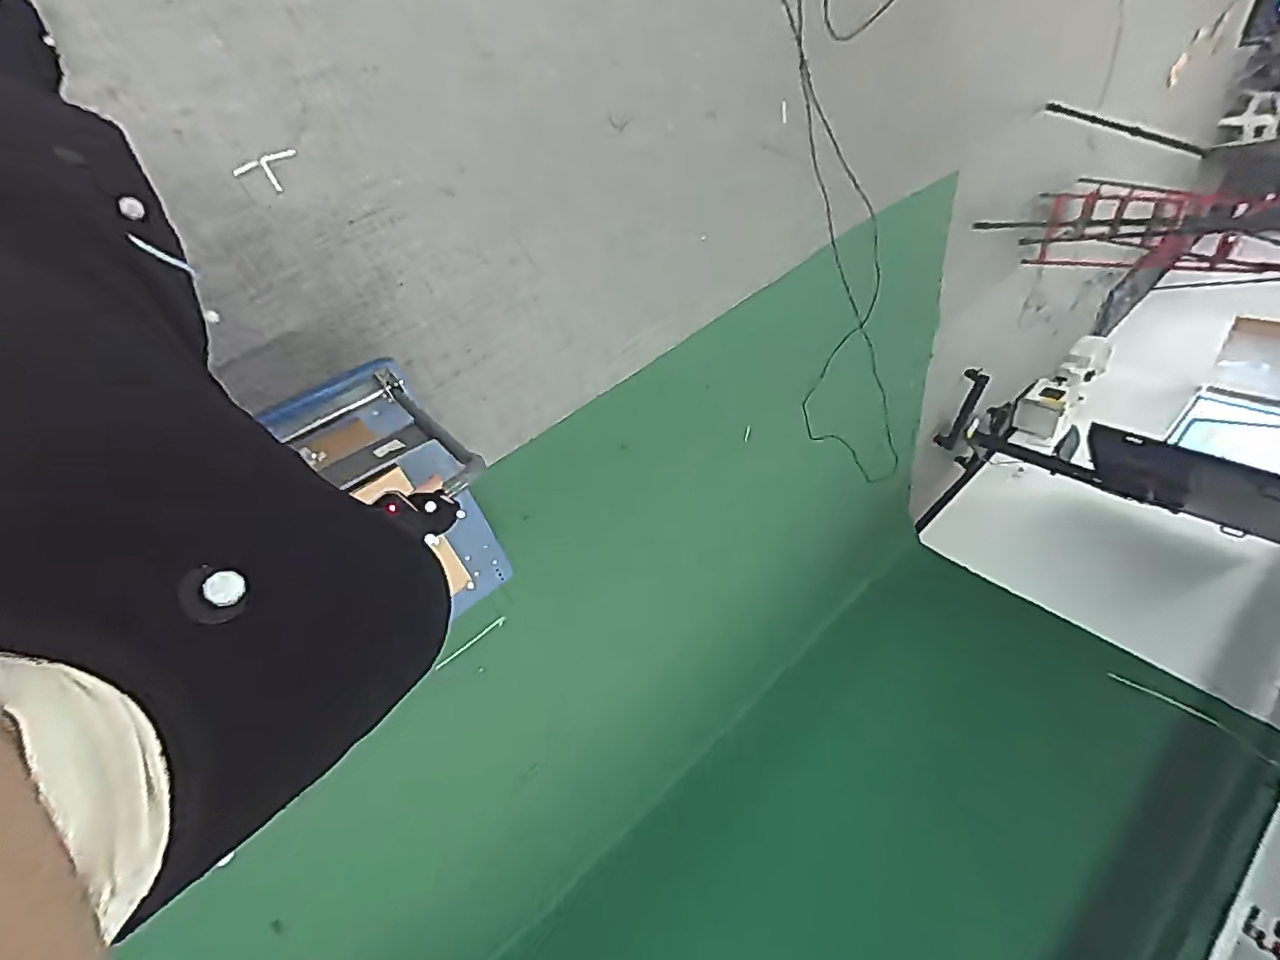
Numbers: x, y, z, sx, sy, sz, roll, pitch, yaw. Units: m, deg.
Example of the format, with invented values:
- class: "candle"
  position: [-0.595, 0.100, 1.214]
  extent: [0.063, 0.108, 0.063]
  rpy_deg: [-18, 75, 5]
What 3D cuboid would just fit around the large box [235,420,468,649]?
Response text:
- class: "large box"
  position: [-0.701, 0.128, 1.343]
  extent: [0.320, 0.320, 0.408]
  rpy_deg: [-35, 134, -22]
